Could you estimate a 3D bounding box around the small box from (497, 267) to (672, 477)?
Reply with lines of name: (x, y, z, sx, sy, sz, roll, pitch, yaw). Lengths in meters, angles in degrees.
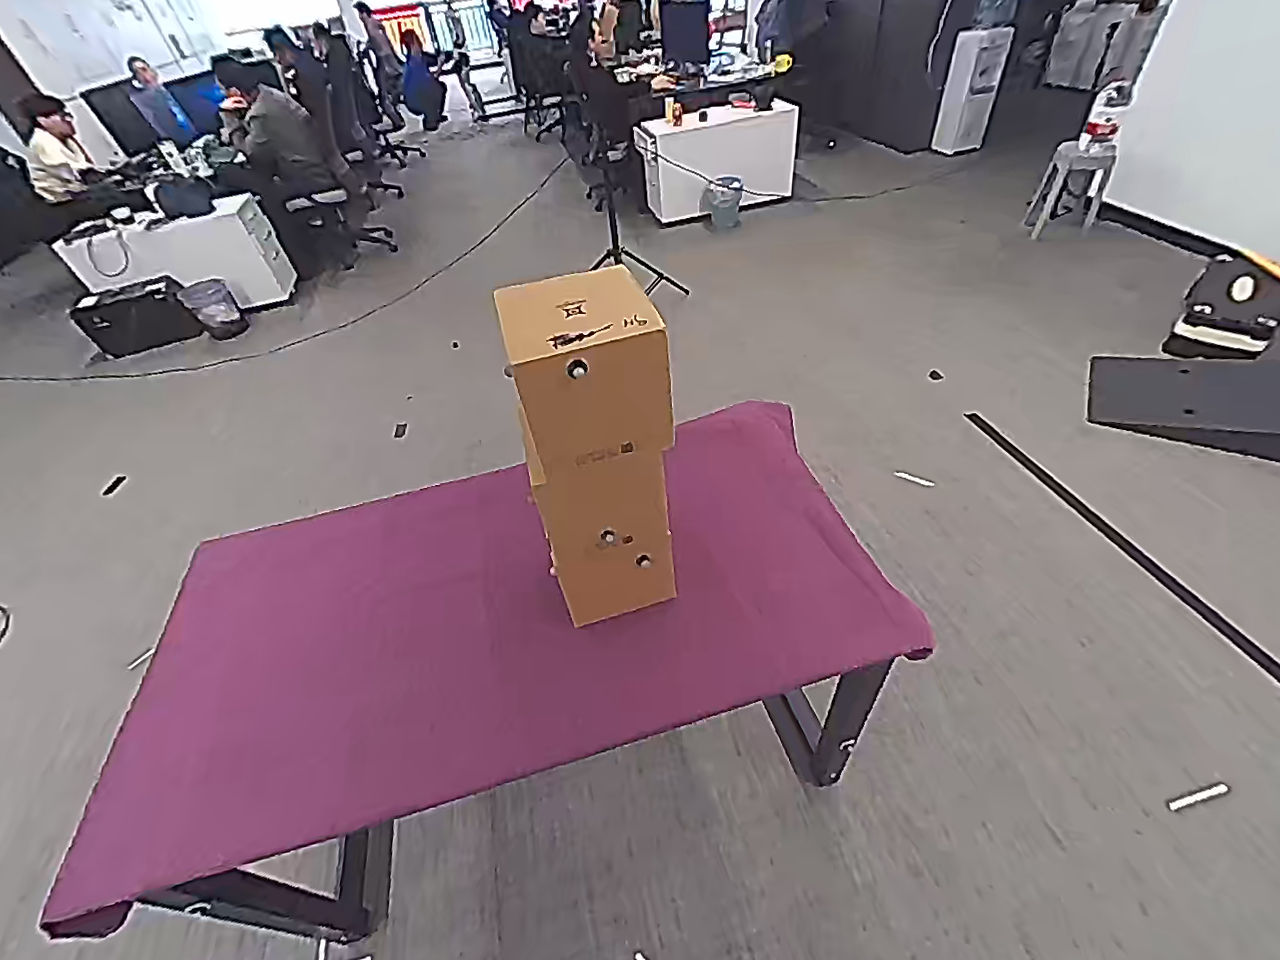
small box: (-0.066, -0.132, 0.658, 0.168, 0.176, 0.179, -16, 45, -7)

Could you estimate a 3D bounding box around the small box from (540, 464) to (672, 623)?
small box: (-0.051, 0.105, 0.885, 0.179, 0.176, 0.168, -16, 44, -7)
